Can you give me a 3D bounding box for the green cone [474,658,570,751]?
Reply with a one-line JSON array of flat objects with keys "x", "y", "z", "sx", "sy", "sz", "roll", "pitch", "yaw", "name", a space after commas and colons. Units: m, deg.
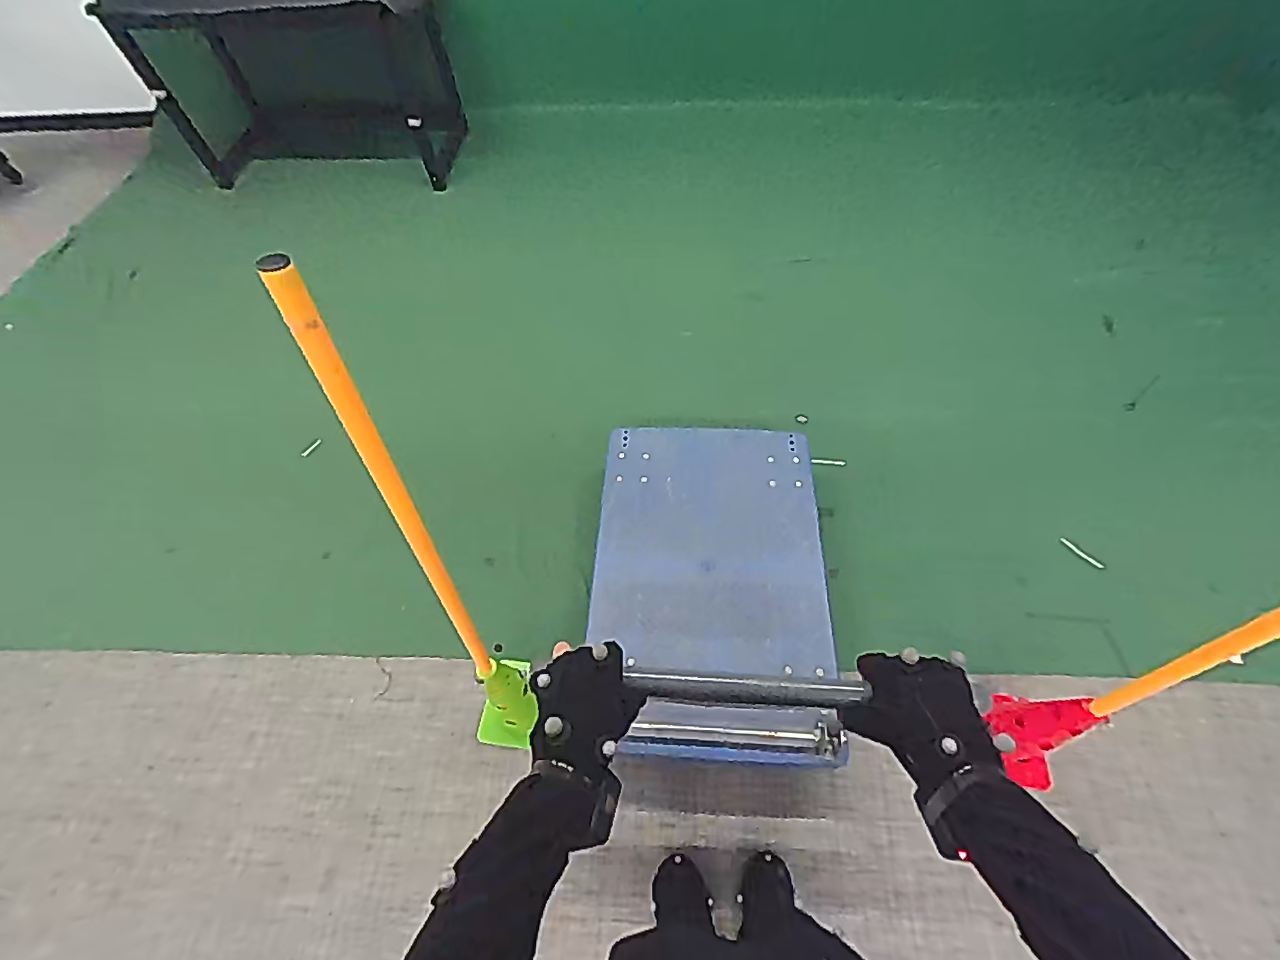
[{"x": -0.297, "y": 0.470, "z": 1.225, "sx": 0.202, "sy": 0.368, "sz": 0.200, "roll": 5, "pitch": 56, "yaw": 7, "name": "green cone"}]
